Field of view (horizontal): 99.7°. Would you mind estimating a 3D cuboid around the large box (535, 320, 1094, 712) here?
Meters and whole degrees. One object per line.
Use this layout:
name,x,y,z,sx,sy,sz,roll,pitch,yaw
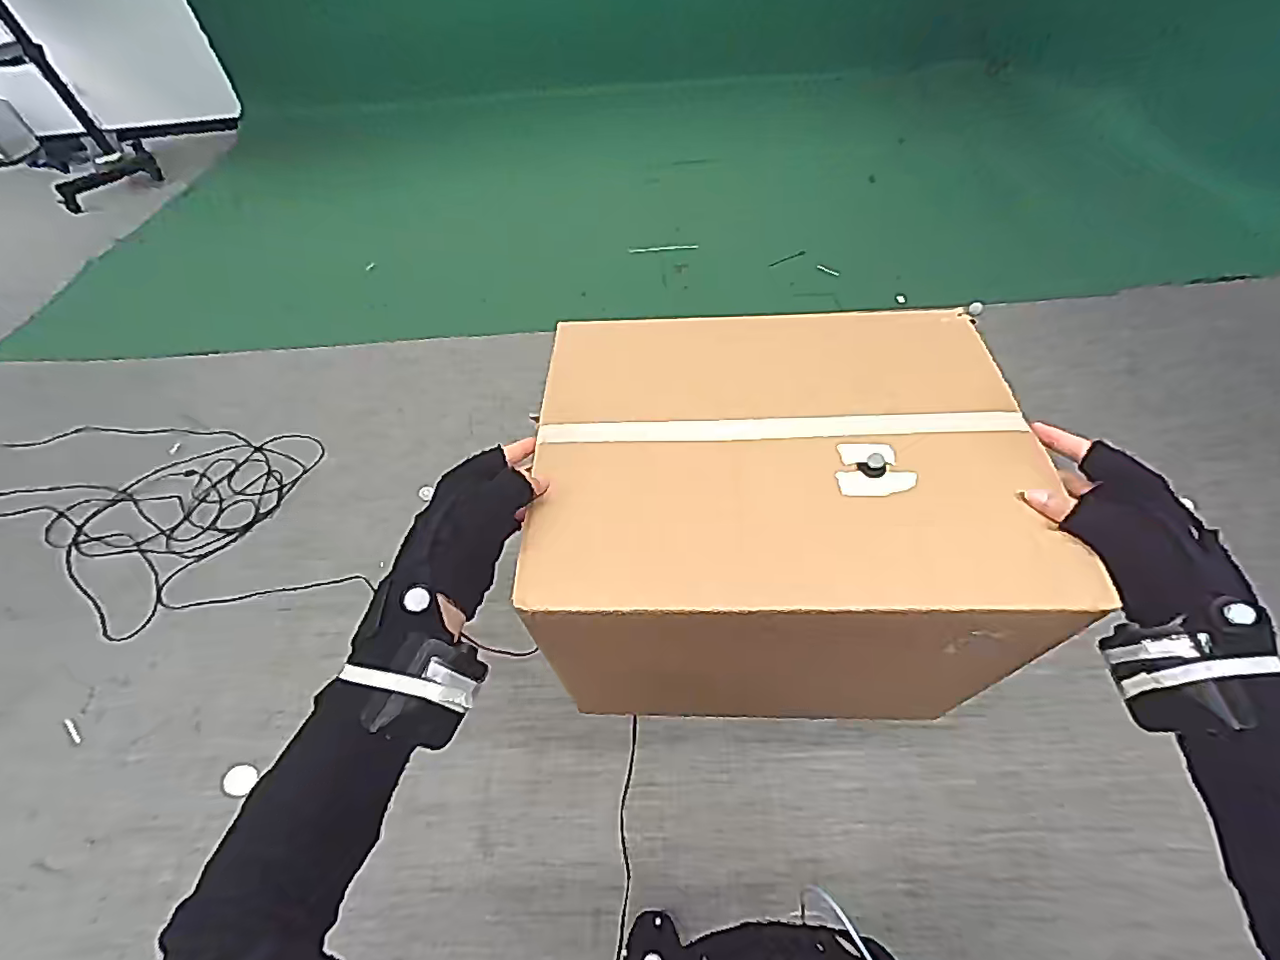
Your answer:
large box,0.125,0.052,0.588,0.408,0.320,0.320,-1,55,2
